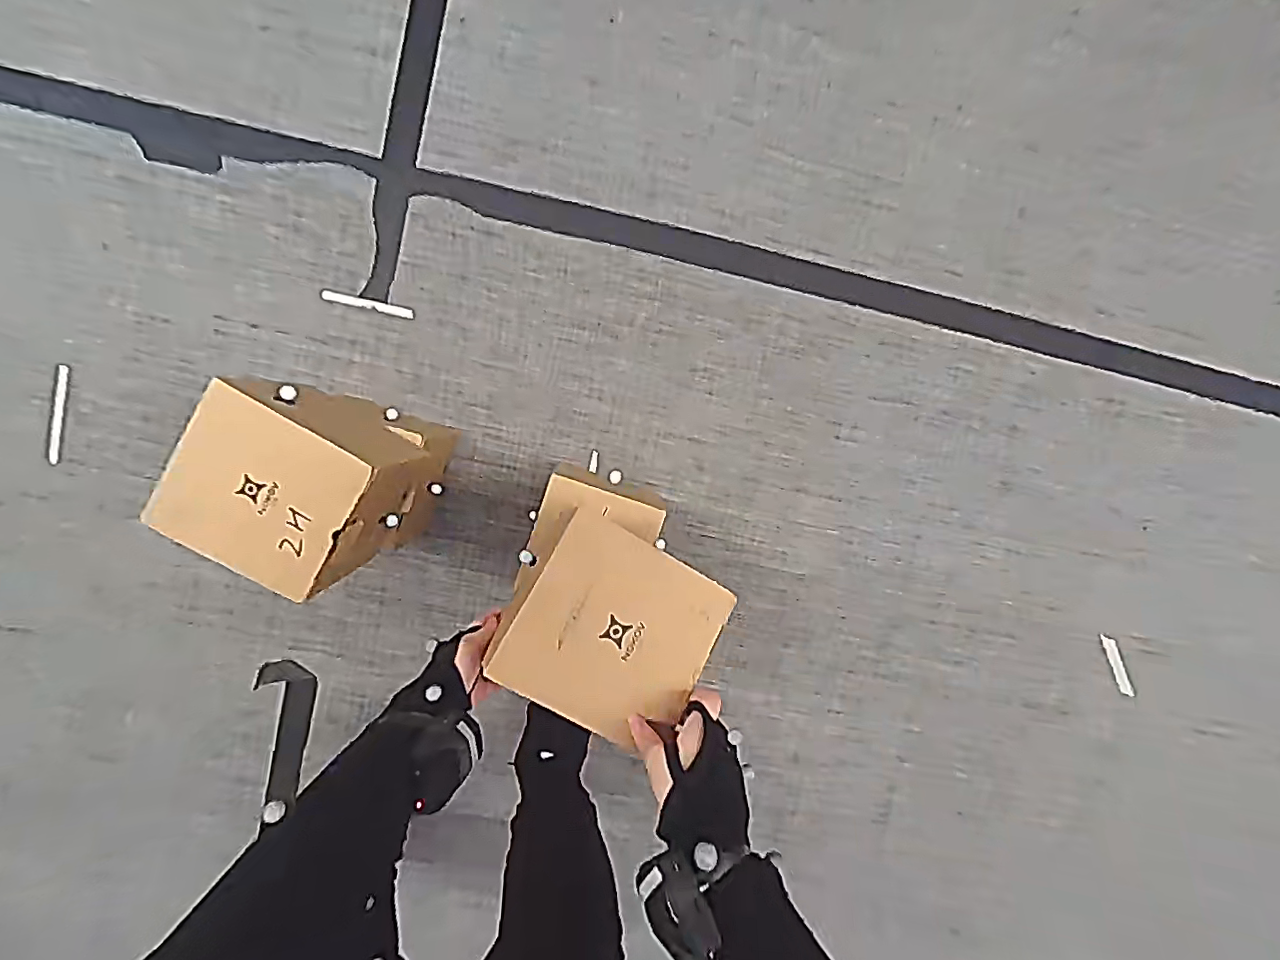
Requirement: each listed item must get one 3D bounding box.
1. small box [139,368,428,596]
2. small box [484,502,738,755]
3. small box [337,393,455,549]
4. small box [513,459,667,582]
[{"bbox_3d":[-0.374,-0.004,0.604,0.179,0.176,0.168,31,96,-7],"label":"small box"},{"bbox_3d":[-0.038,0.136,0.549,0.179,0.176,0.168,32,77,-10],"label":"small box"},{"bbox_3d":[-0.384,-0.024,0.767,0.179,0.176,0.168,19,96,-7],"label":"small box"},{"bbox_3d":[-0.071,0.081,0.803,0.168,0.176,0.179,20,95,-6],"label":"small box"}]
